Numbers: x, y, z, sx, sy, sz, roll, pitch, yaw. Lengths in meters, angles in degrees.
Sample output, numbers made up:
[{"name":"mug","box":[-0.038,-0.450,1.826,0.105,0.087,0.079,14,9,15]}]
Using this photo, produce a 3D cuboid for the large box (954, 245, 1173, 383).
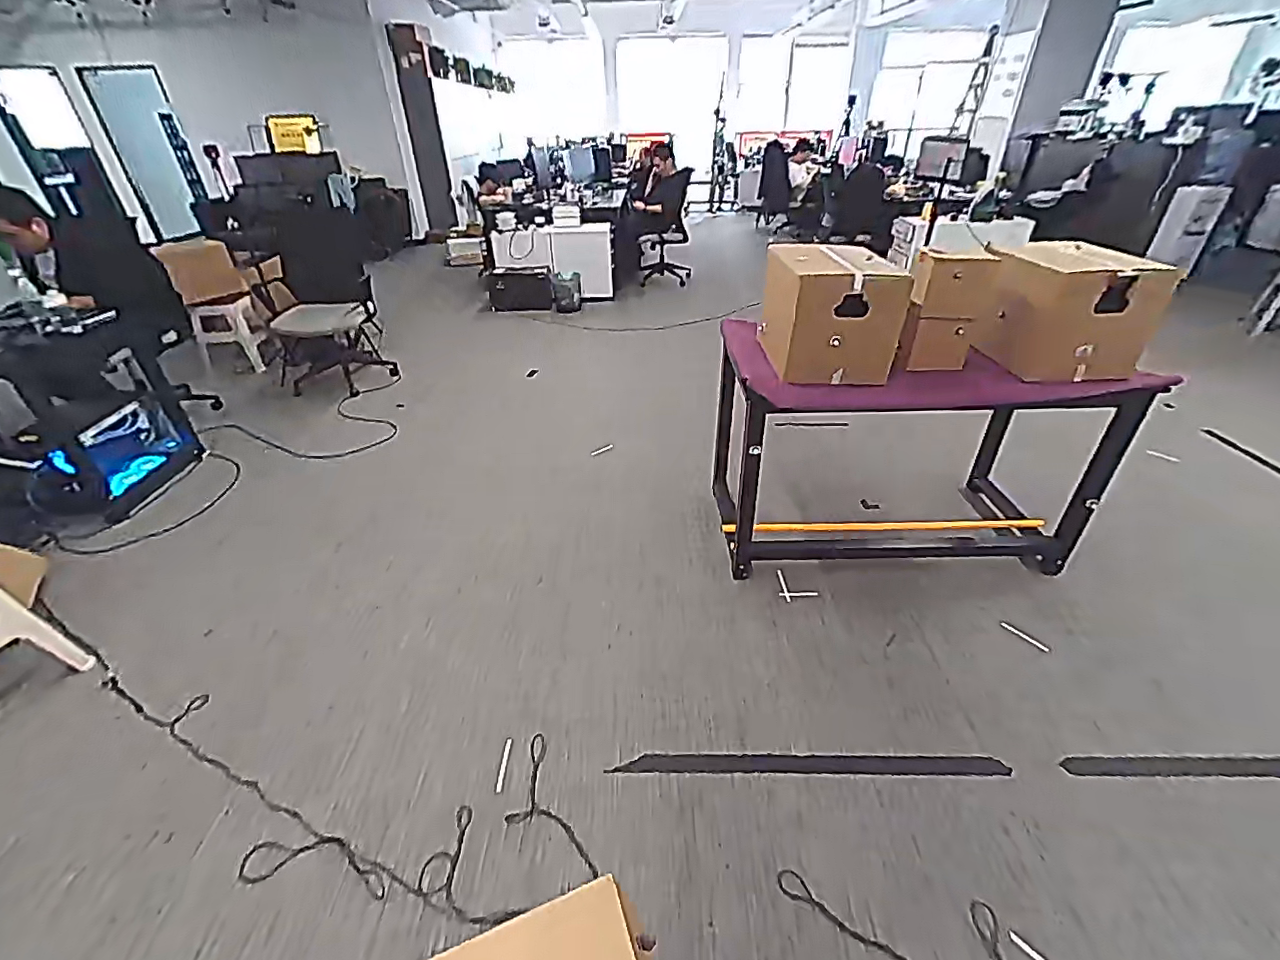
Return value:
[{"name":"large box","box":[1.255,-0.520,1.664,0.320,0.320,0.408,-1,32,0]}]
